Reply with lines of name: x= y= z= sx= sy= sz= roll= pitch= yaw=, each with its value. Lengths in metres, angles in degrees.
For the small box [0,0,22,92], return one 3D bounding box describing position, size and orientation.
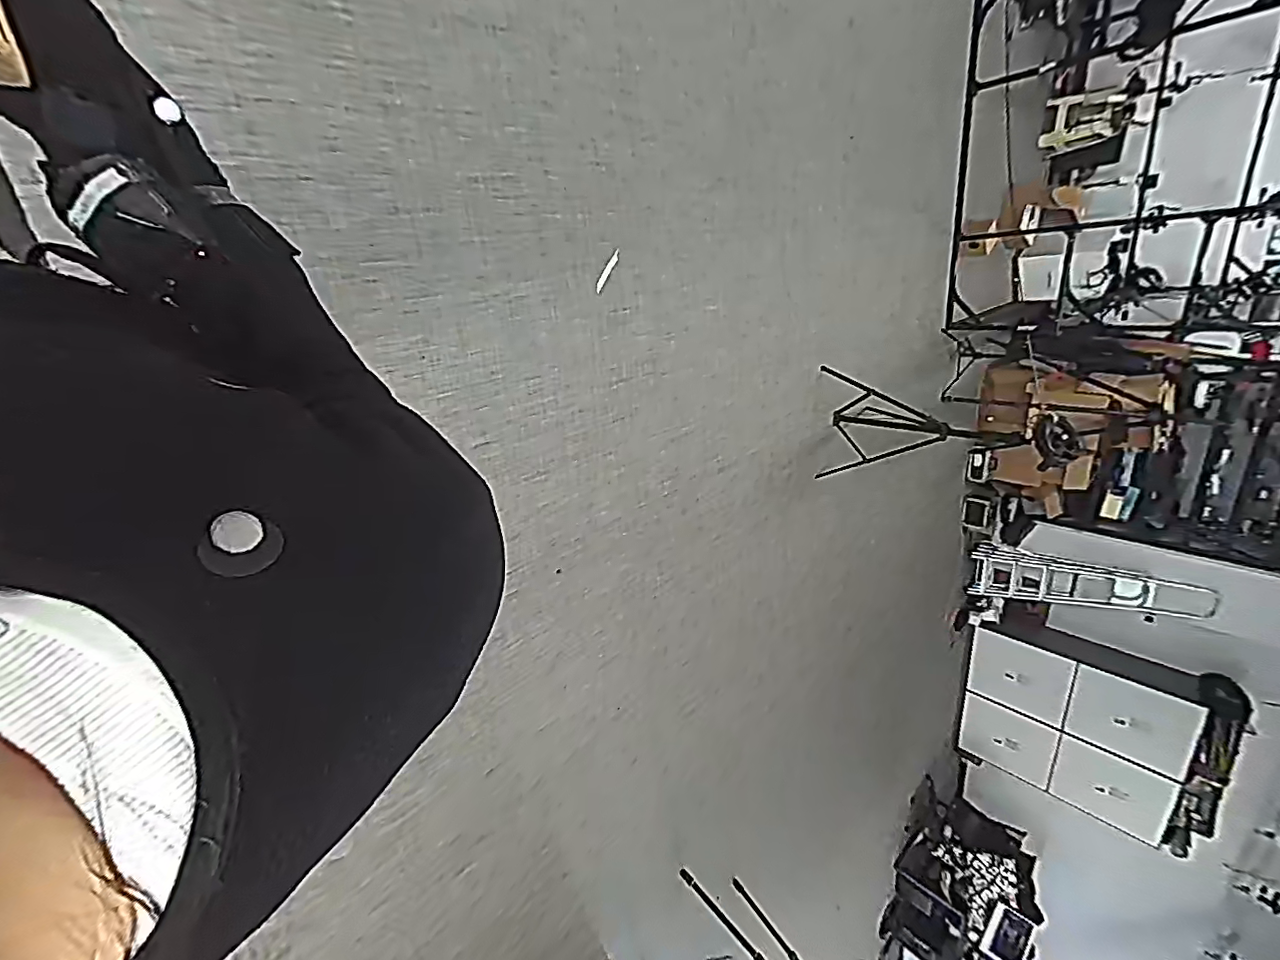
small box: x=-0.333 y=-0.235 z=0.152 sx=0.176 sy=0.168 sz=0.179 roll=-20 pitch=126 yaw=-39
